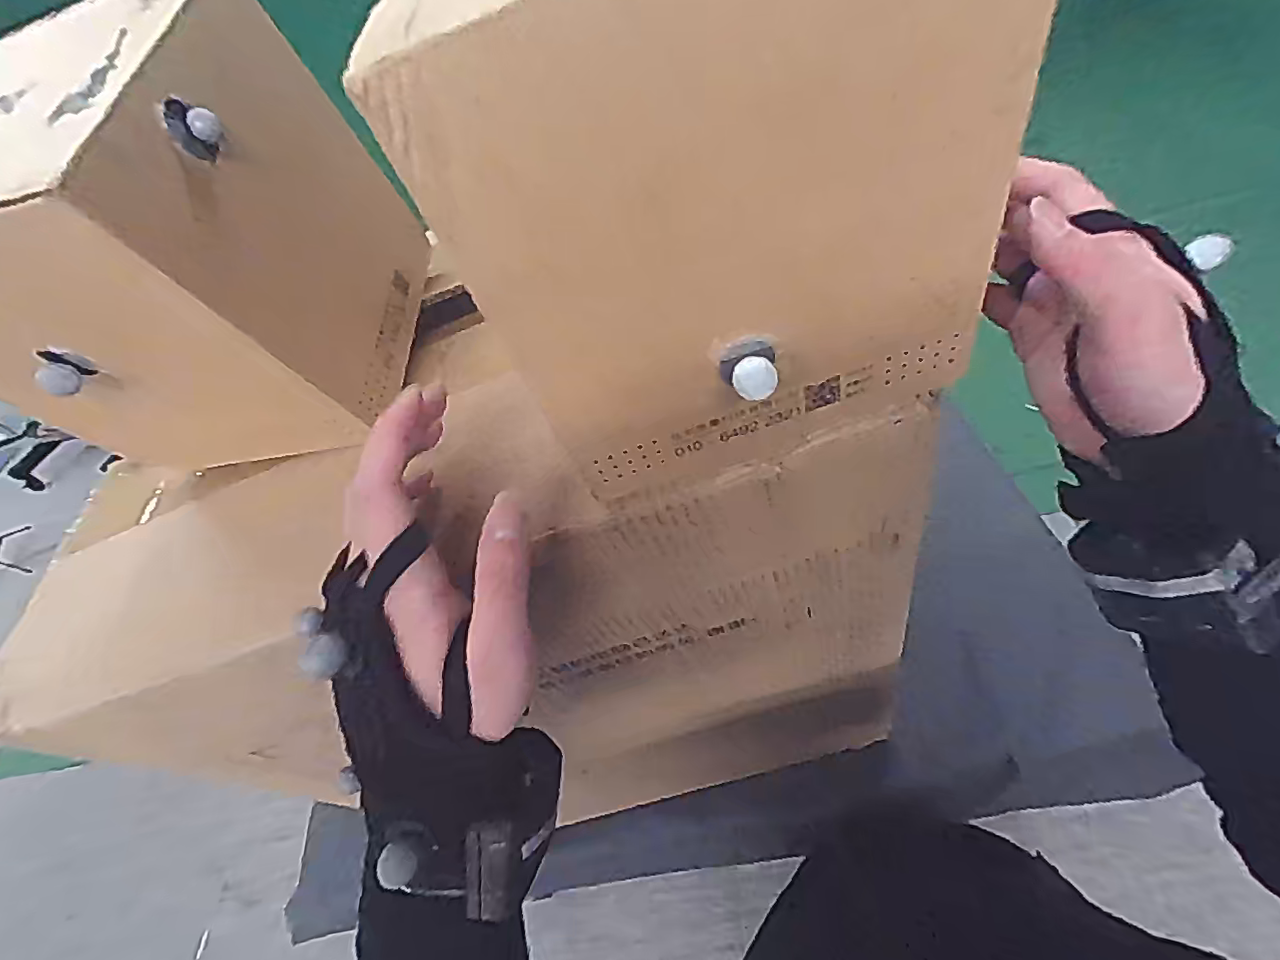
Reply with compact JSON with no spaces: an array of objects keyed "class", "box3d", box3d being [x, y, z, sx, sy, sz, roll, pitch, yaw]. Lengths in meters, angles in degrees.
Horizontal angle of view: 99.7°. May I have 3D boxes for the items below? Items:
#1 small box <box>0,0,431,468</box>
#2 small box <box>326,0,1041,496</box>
[{"class":"small box","box3d":[-0.252,-0.118,0.302,0.179,0.176,0.168,-7,63,14]},{"class":"small box","box3d":[0.015,-0.124,0.224,0.168,0.176,0.179,-19,51,6]}]
